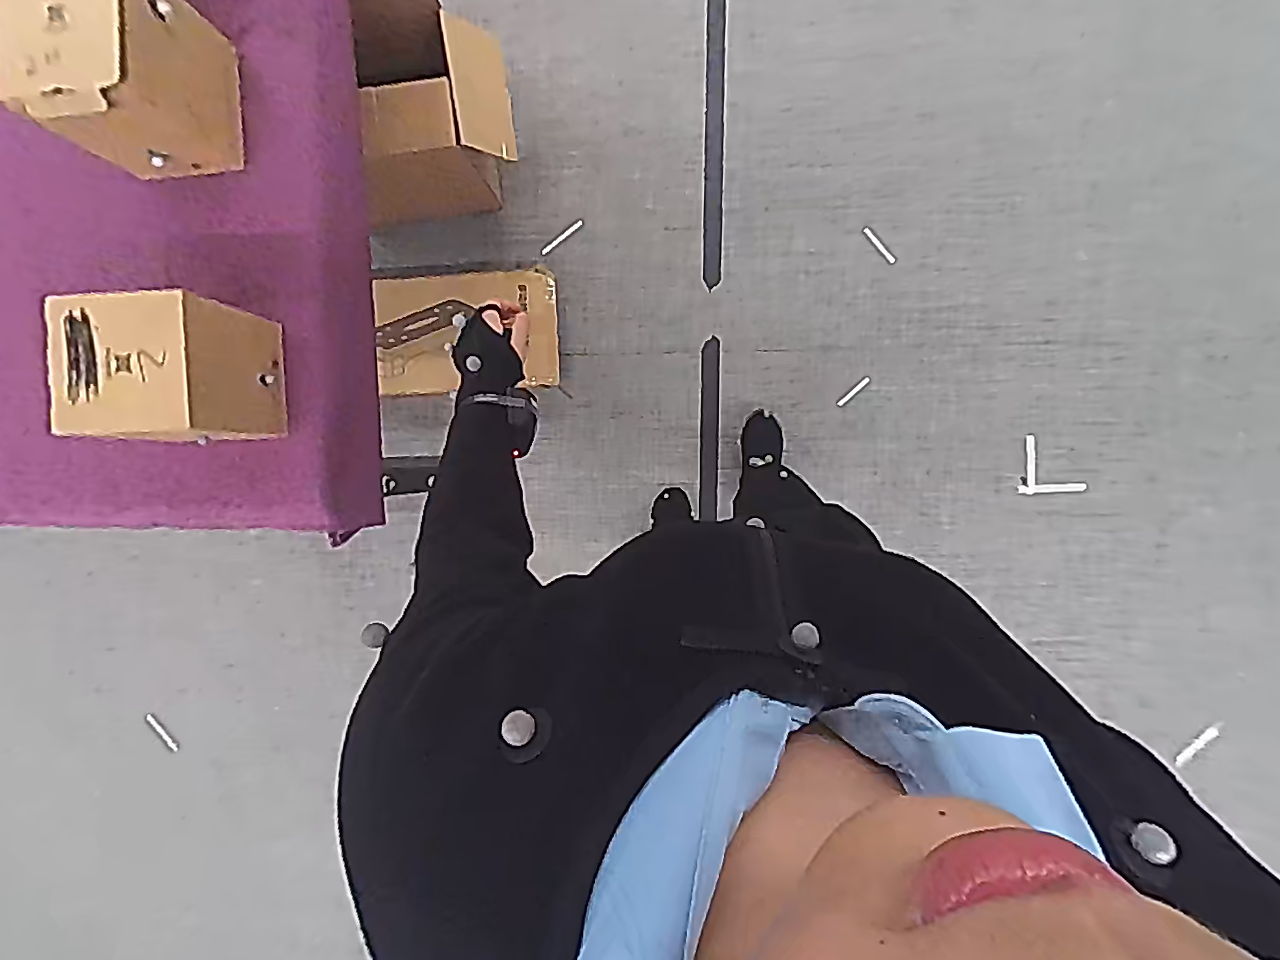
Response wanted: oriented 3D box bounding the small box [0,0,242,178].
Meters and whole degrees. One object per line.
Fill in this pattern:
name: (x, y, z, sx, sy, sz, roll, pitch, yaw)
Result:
small box: (-0.660, -0.528, 0.702, 0.168, 0.176, 0.179, -2, 92, 6)
